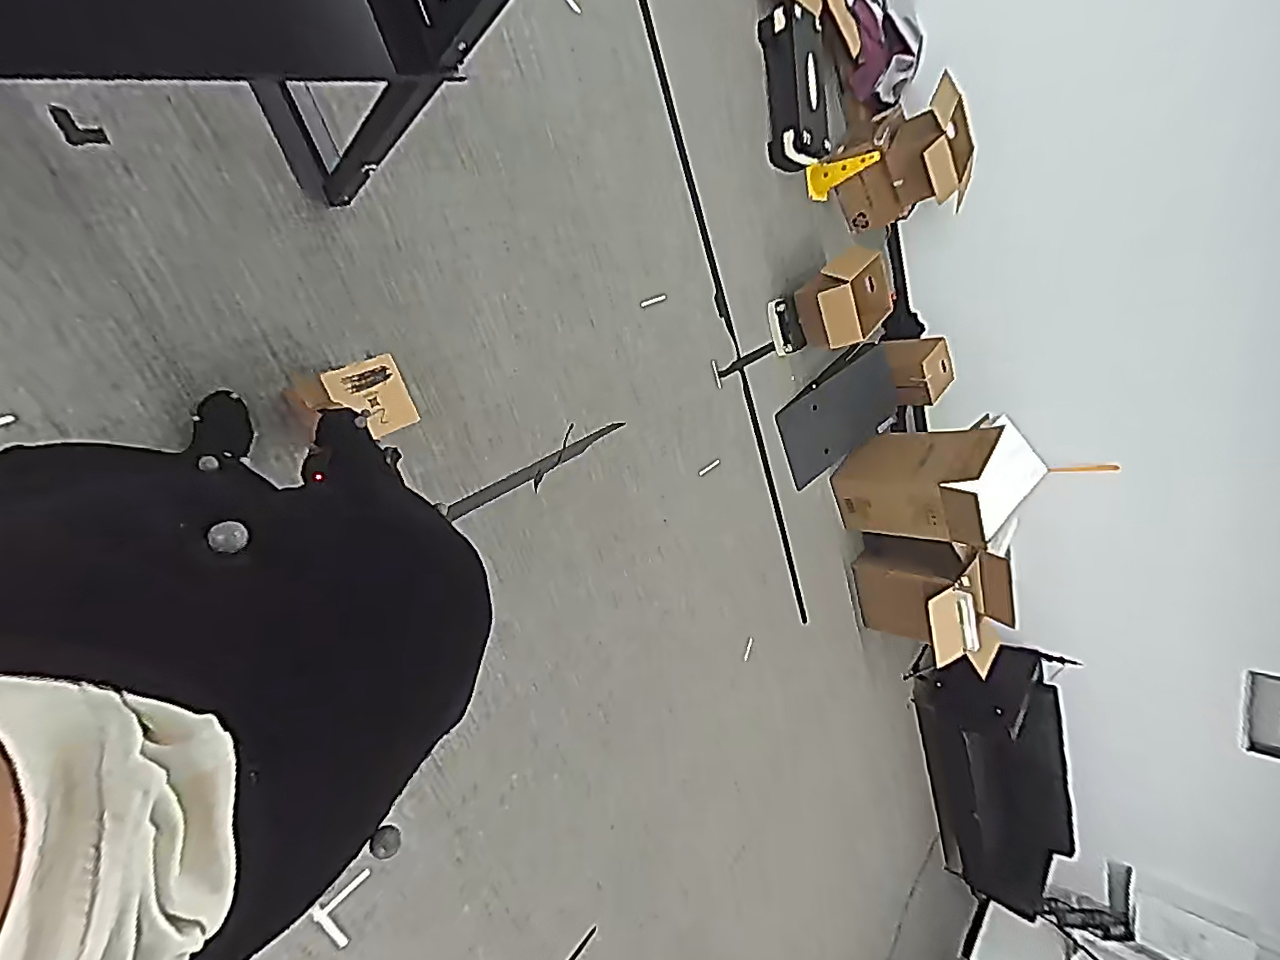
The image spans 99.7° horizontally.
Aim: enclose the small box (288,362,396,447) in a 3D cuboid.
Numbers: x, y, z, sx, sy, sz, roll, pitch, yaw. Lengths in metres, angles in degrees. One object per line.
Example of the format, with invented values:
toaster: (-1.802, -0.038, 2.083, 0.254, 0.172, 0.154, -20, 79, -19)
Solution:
small box: (-0.786, -0.198, 1.422, 0.179, 0.176, 0.168, -35, 114, -35)
